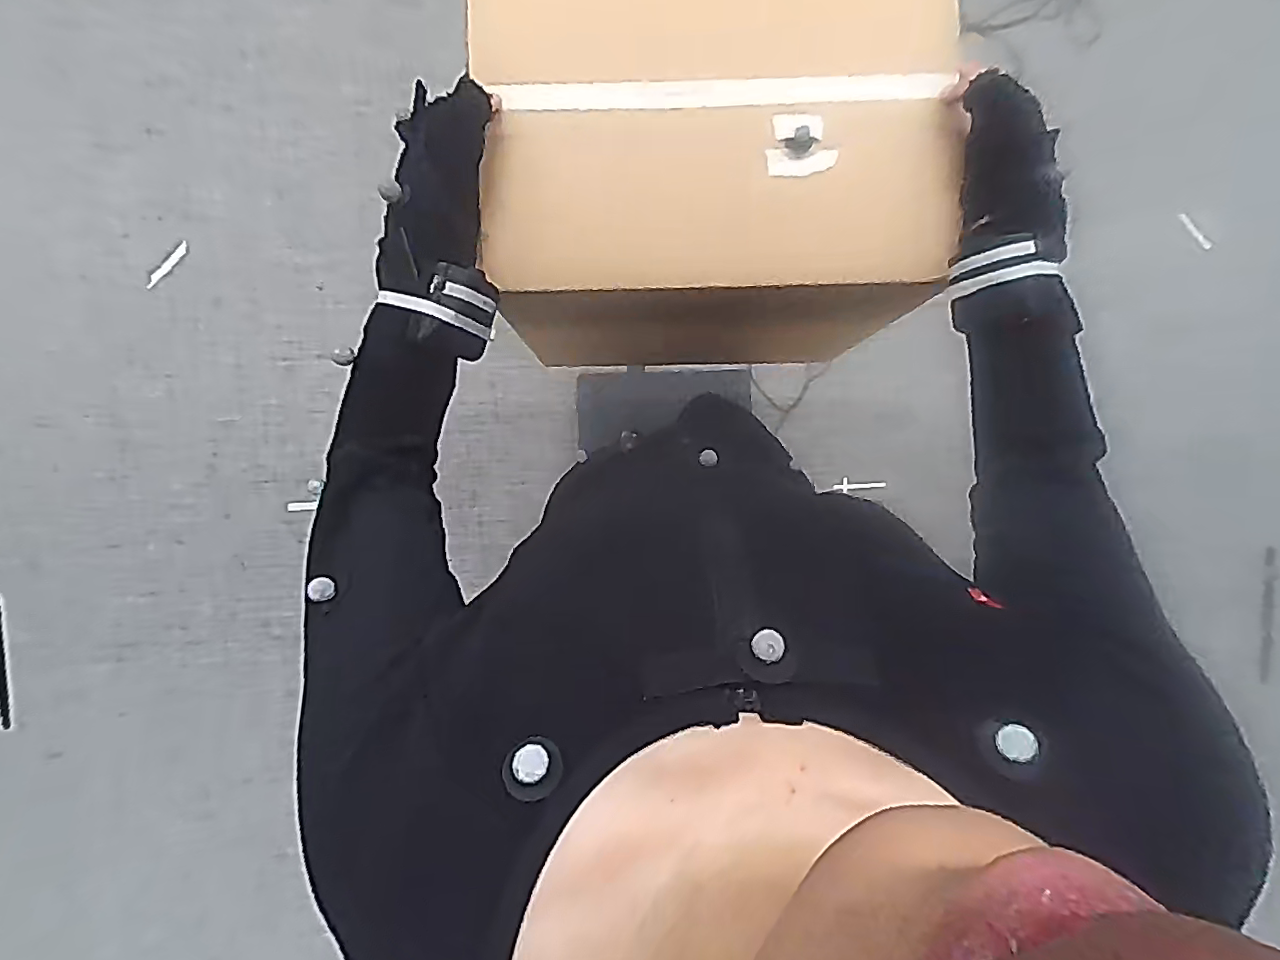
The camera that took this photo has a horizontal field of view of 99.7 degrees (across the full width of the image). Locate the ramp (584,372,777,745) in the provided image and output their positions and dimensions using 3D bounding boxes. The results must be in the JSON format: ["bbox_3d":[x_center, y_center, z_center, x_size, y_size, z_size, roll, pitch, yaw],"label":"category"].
[{"bbox_3d":[0.096,0.192,1.481,0.509,0.206,0.991,-3,92,1],"label":"ramp"}]

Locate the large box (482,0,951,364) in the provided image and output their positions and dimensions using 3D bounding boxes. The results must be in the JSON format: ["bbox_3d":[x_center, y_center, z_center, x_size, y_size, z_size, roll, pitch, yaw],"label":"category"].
[{"bbox_3d":[0.062,-0.323,0.614,0.408,0.320,0.320,-1,90,-1],"label":"large box"}]
